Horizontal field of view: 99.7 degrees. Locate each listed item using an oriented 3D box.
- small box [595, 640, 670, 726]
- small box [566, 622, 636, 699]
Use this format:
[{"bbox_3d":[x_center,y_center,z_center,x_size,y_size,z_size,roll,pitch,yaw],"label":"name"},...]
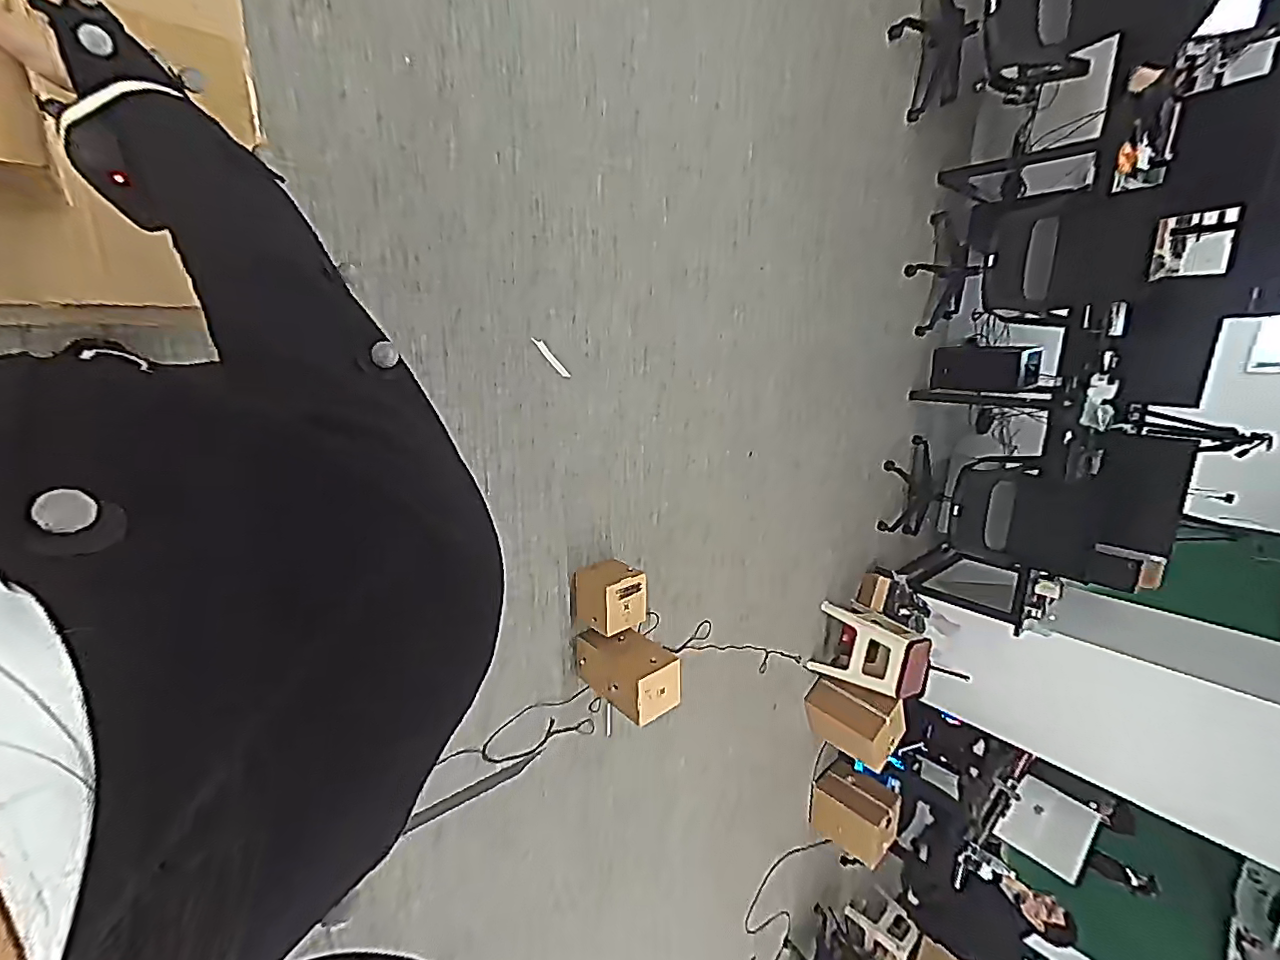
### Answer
[{"bbox_3d":[-0.025,0.635,1.717,0.179,0.176,0.168,-13,108,-39],"label":"small box"},{"bbox_3d":[-0.134,0.604,1.837,0.179,0.176,0.168,-11,107,-39],"label":"small box"}]
